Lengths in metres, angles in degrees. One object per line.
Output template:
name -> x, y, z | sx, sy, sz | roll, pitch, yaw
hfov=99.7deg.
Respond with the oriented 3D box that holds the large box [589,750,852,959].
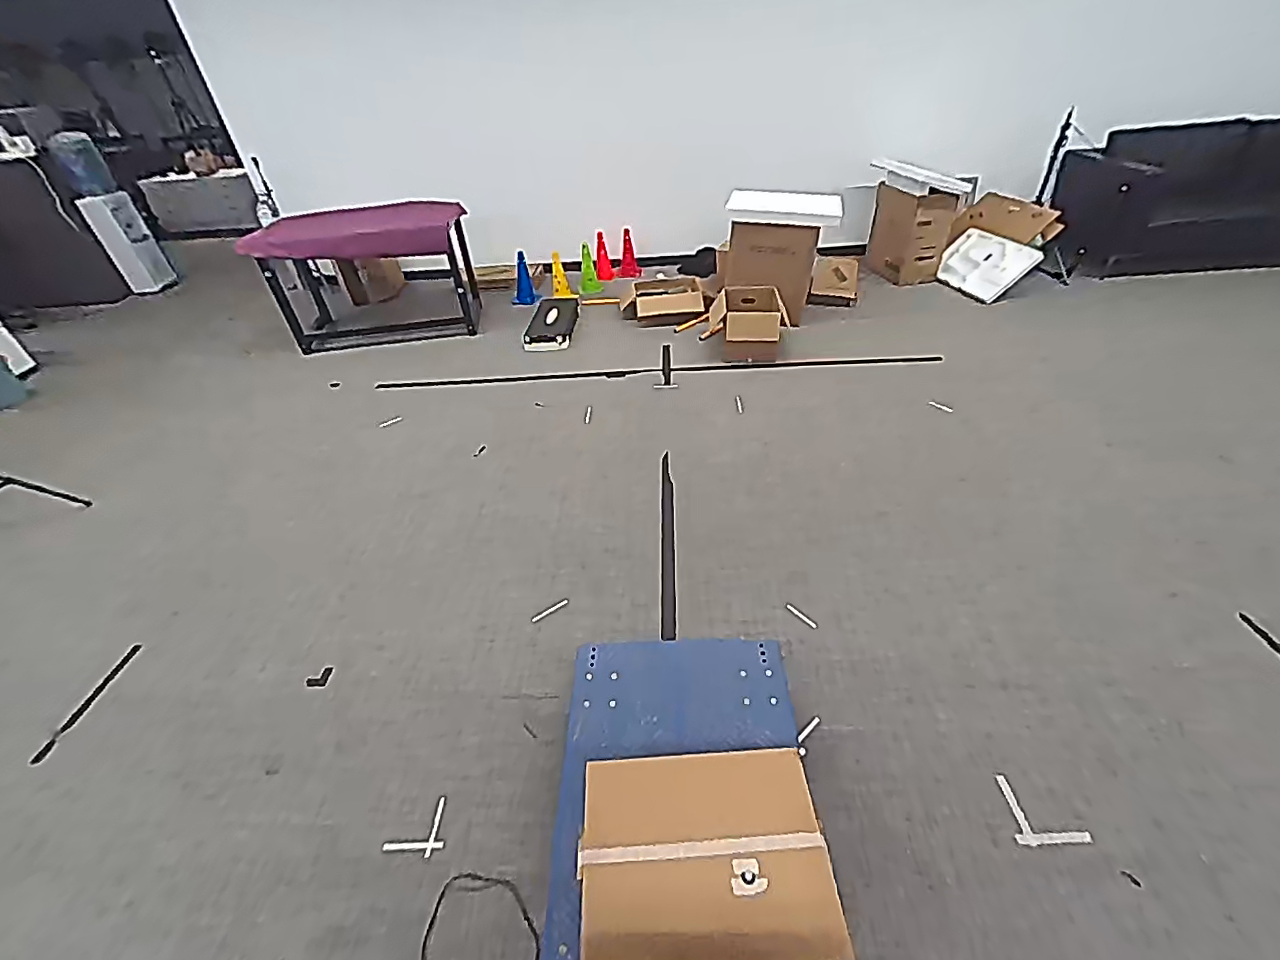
large box -> 0.116, 0.744, 1.006 | 0.408, 0.320, 0.320 | -4, 39, -1
